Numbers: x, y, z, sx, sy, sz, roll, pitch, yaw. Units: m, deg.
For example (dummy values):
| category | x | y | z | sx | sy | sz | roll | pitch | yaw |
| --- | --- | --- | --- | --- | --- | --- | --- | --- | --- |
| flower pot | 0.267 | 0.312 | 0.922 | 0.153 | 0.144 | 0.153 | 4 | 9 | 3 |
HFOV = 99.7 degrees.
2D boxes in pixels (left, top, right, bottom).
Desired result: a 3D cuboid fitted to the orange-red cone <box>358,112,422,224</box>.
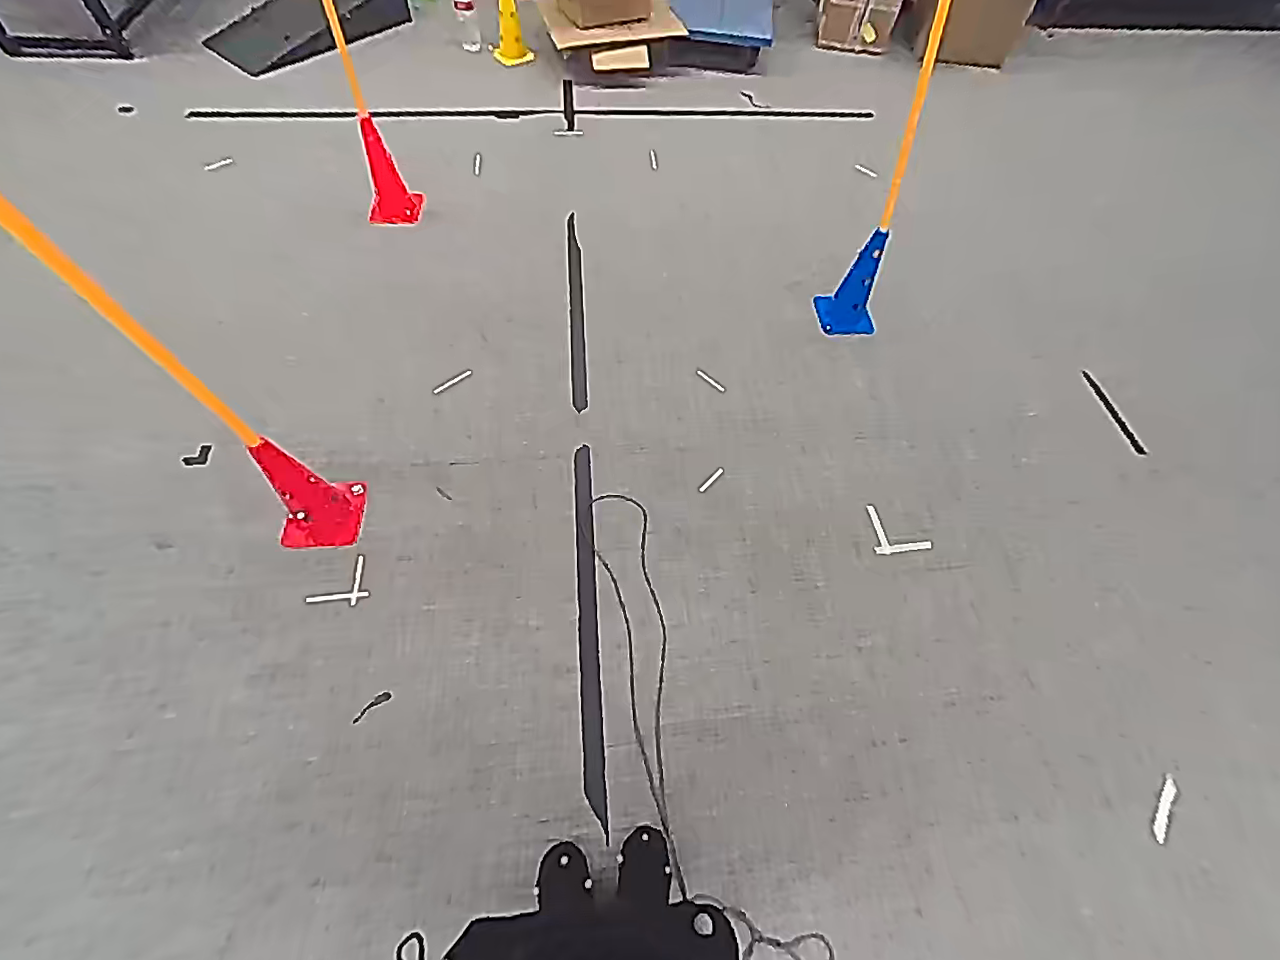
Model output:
| category | x | y | z | sx | sy | sz | roll | pitch | yaw |
| --- | --- | --- | --- | --- | --- | --- | --- | --- | --- |
| orange-red cone | -0.995 | -1.204 | 2.067 | 0.198 | 0.360 | 0.199 | 0 | 58 | -4 |

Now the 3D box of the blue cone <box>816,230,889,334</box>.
| category | x | y | z | sx | sy | sz | roll | pitch | yaw |
| --- | --- | --- | --- | --- | --- | --- | --- | --- | --- |
| blue cone | 0.775 | -0.707 | 1.900 | 0.193 | 0.380 | 0.192 | -1 | 60 | -3 |
